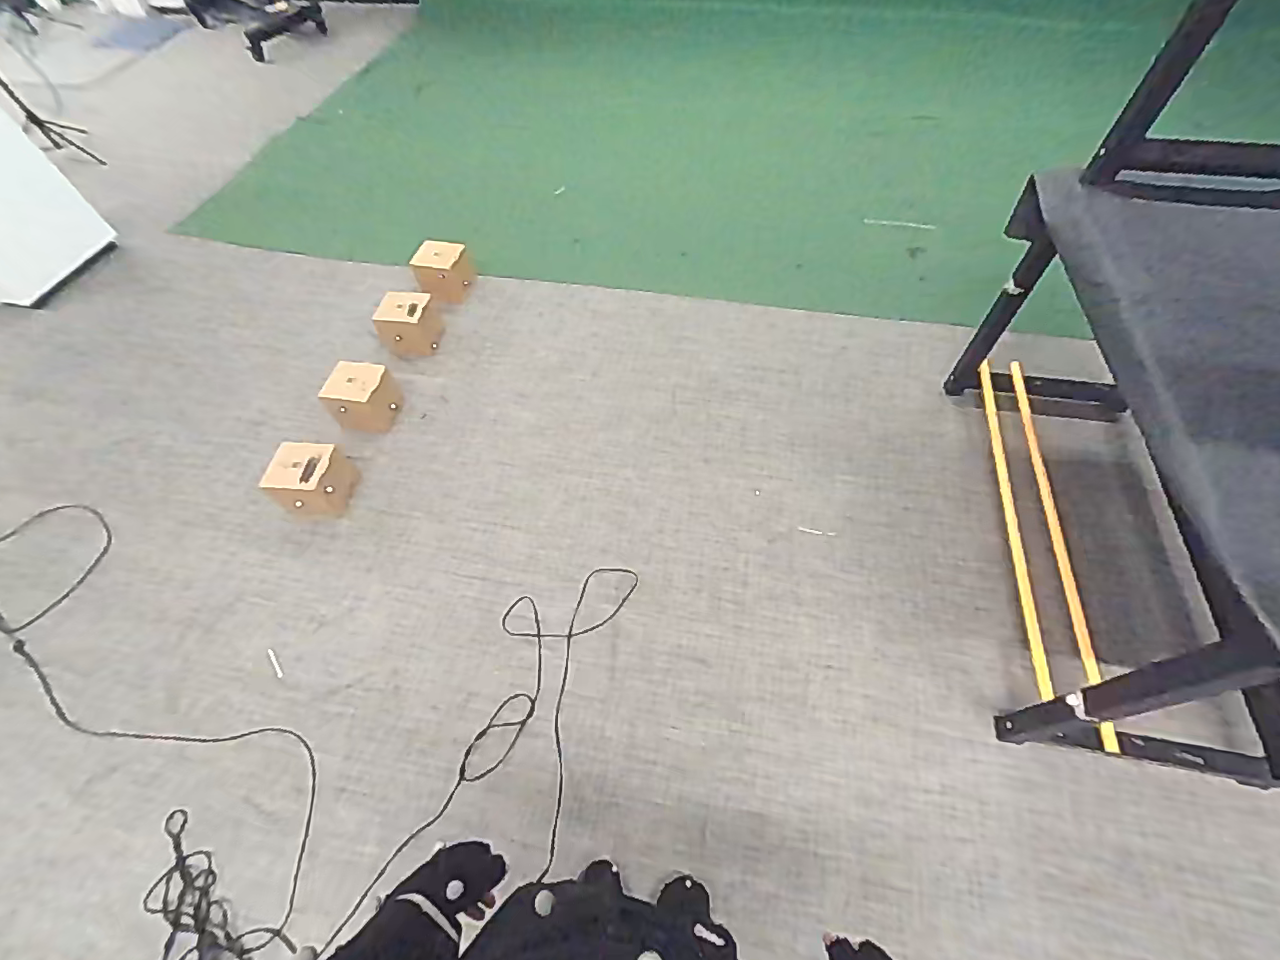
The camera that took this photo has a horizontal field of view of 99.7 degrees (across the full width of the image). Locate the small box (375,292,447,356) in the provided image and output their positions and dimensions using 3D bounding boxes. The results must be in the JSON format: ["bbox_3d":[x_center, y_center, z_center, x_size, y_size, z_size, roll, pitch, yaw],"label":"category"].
[{"bbox_3d":[-0.863,-0.592,2.060,0.179,0.176,0.168,5,57,6],"label":"small box"}]

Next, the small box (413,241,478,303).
[{"bbox_3d":[-0.798,-0.857,2.234,0.179,0.176,0.168,10,58,8],"label":"small box"}]

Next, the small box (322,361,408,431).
[{"bbox_3d":[-0.937,-0.285,1.857,0.179,0.176,0.168,8,58,6],"label":"small box"}]
